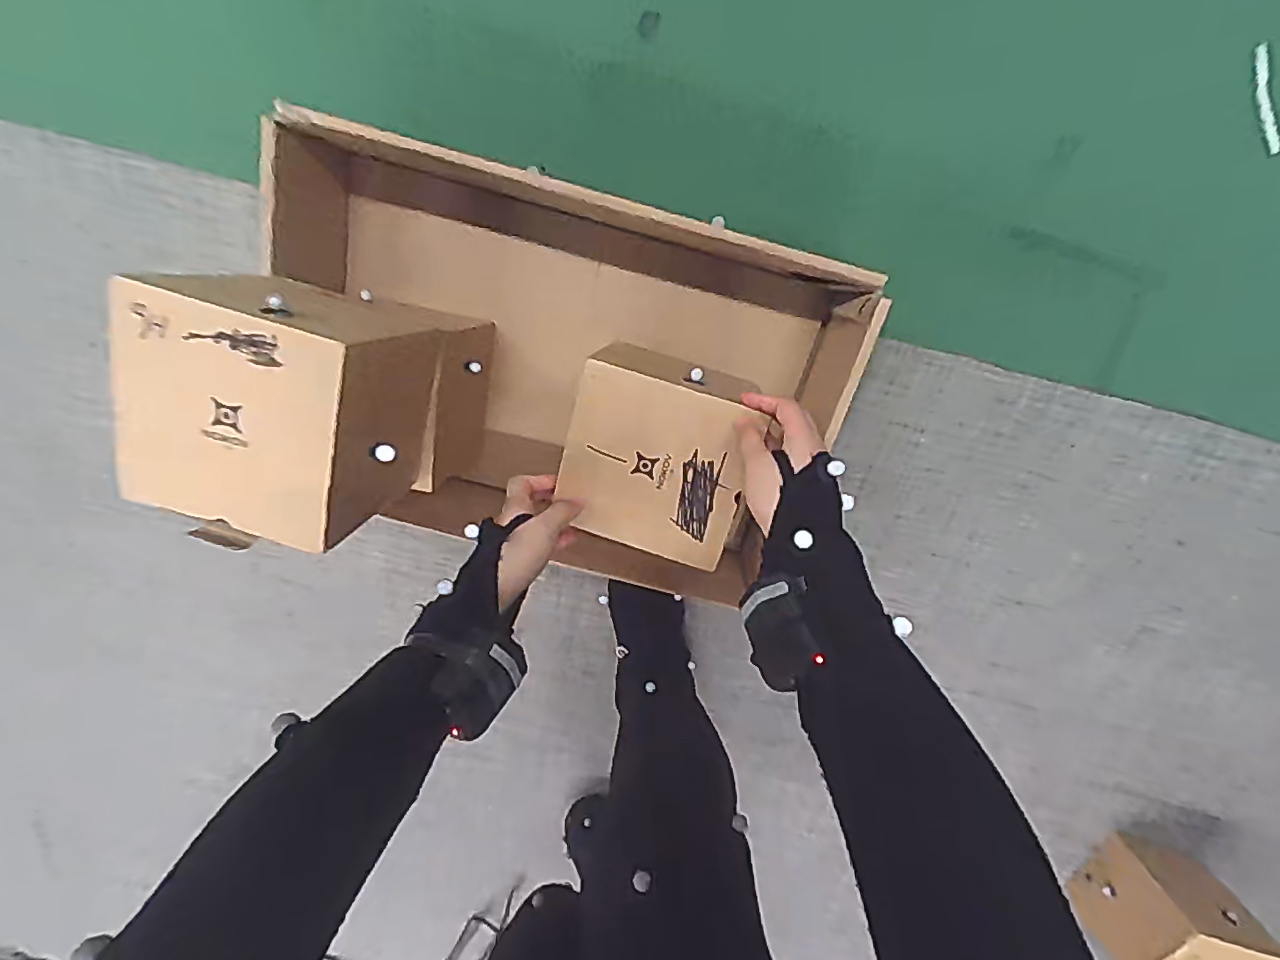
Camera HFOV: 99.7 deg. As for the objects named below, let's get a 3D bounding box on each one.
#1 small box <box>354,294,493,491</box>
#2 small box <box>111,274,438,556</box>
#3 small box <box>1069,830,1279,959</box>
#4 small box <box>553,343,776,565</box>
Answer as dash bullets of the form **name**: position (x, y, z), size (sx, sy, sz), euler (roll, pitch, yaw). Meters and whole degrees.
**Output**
- **small box**: position (-0.279, -0.111, 0.628), size (0.168, 0.176, 0.179), euler (12, 112, -1)
- **small box**: position (-0.295, -0.067, 0.471), size (0.168, 0.176, 0.179), euler (17, 111, -3)
- **small box**: position (0.913, 0.749, 0.933), size (0.179, 0.176, 0.168), euler (18, 109, -3)
- **small box**: position (0.027, -0.040, 0.579), size (0.179, 0.176, 0.168), euler (17, 112, 1)
